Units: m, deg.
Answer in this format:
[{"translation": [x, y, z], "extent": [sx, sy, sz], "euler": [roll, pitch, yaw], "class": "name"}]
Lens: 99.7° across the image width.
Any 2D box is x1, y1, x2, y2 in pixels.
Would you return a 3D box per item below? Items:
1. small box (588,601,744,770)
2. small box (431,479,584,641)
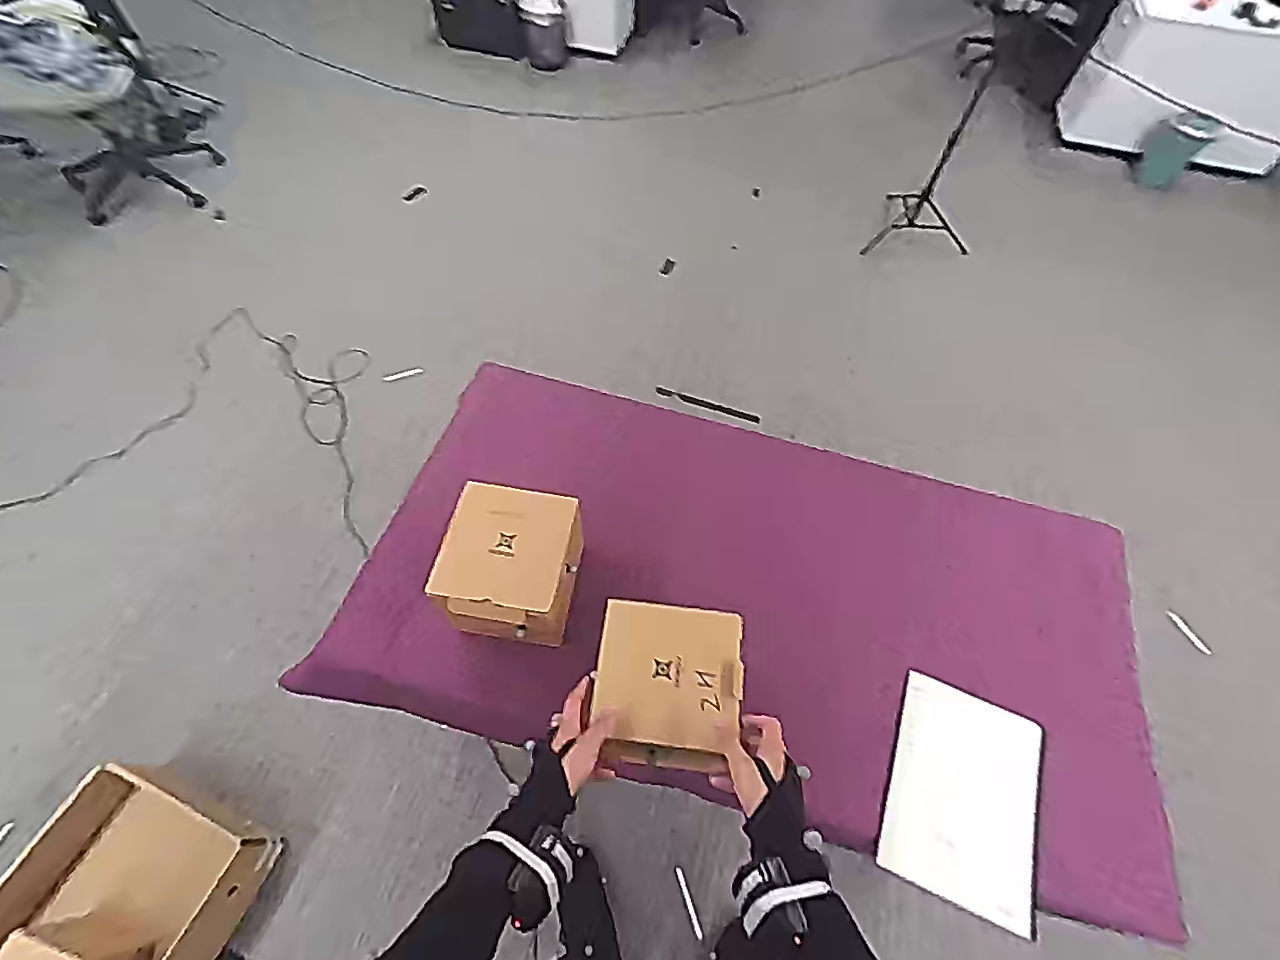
[{"translation": [0.035, 0.277, 0.715], "extent": [0.179, 0.176, 0.168], "euler": [7, 57, 3], "class": "small box"}, {"translation": [-0.181, 0.126, 0.804], "extent": [0.168, 0.176, 0.179], "euler": [10, 59, 3], "class": "small box"}]
